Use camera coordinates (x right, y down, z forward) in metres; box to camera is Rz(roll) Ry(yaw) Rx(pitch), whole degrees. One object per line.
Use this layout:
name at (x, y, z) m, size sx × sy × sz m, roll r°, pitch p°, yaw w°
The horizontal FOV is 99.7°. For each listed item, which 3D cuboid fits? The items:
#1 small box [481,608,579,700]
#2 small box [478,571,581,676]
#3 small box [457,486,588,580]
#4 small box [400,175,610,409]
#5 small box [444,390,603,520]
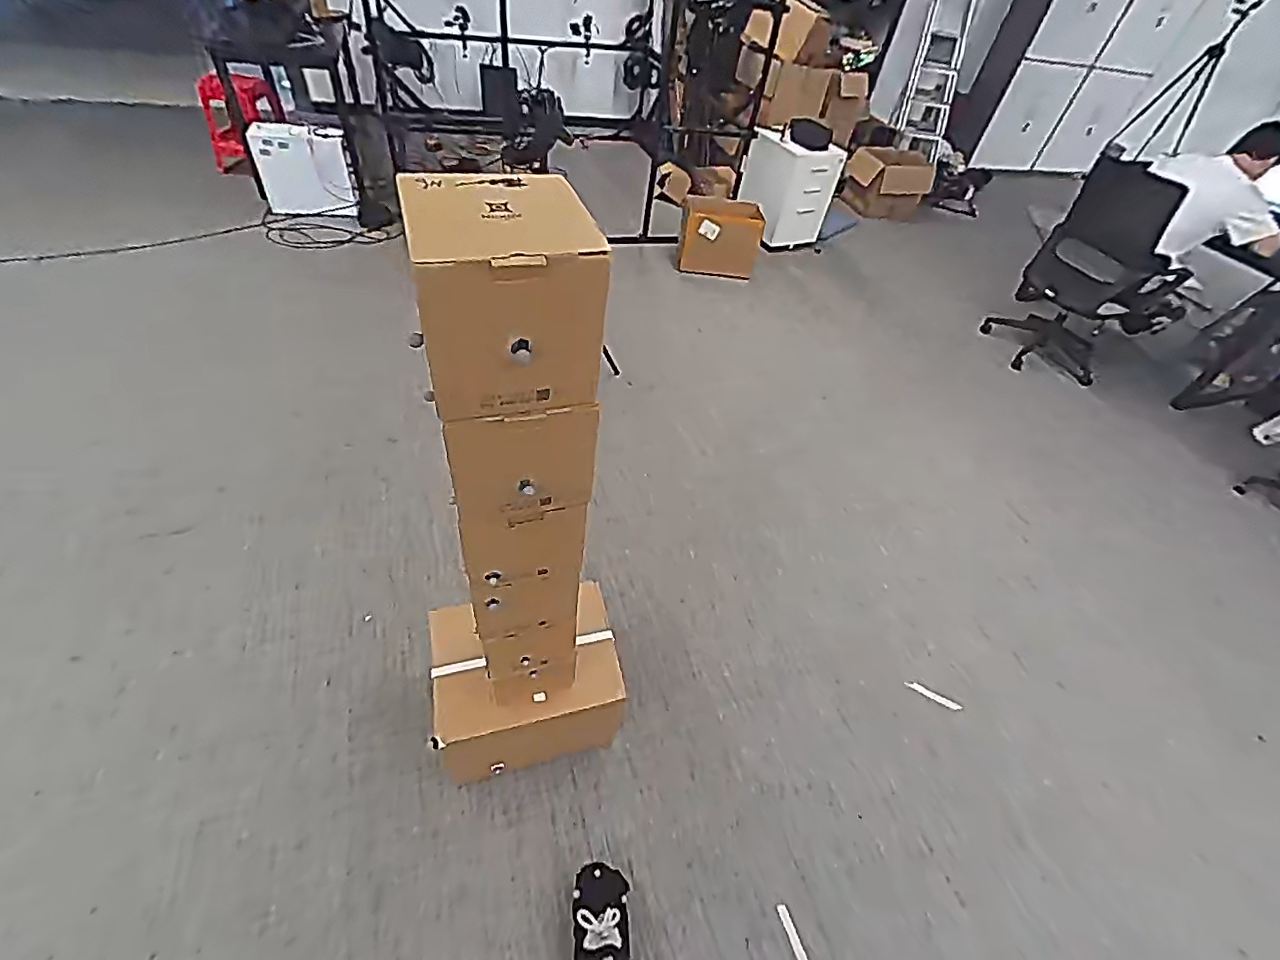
small box at (-0.236, 0.349, 1.163) m, size 0.179 × 0.176 × 0.168 m, roll -9°, pitch 51°, yaw -19°
small box at (-0.217, 0.247, 1.038) m, size 0.168 × 0.176 × 0.179 m, roll -9°, pitch 51°, yaw -17°
small box at (-0.174, 0.031, 0.795) m, size 0.168 × 0.176 × 0.179 m, roll -7°, pitch 50°, yaw -16°
small box at (-0.136, -0.187, 0.552) m, size 0.168 × 0.176 × 0.179 m, roll -10°, pitch 52°, yaw -18°
small box at (-0.153, -0.076, 0.672) m, size 0.168 × 0.176 × 0.179 m, roll -10°, pitch 52°, yaw -17°
